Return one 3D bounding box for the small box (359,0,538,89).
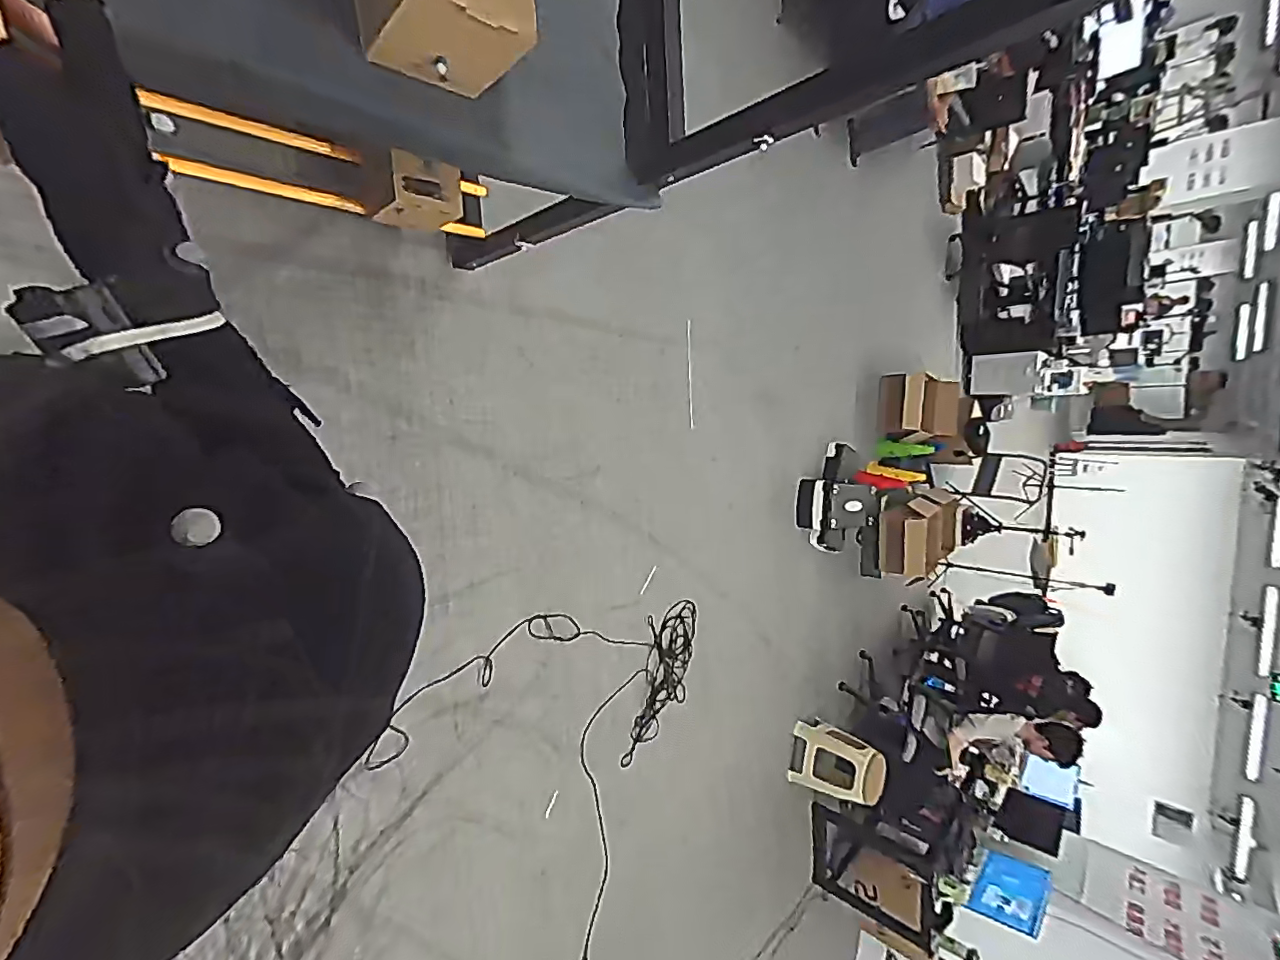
[{"bbox_3d":[-0.256,-0.660,0.699,0.168,0.176,0.179,-13,102,-44],"label":"small box"}]
